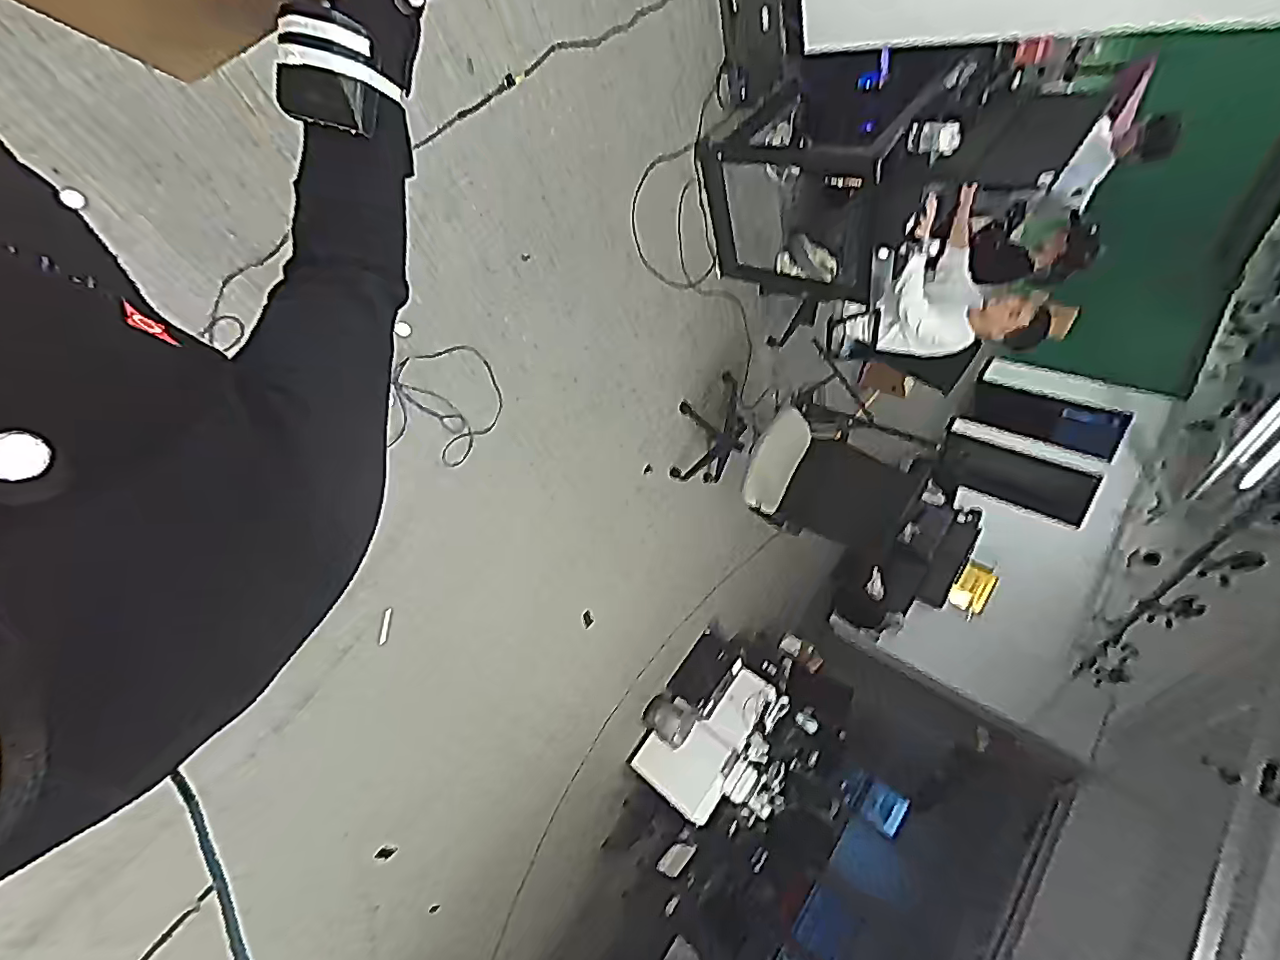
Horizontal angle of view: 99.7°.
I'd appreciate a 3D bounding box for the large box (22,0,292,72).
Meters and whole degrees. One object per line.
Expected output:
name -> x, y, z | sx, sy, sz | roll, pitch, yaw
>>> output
large box -> -0.408, -0.497, 0.253 | 0.408, 0.320, 0.320 | -1, 104, -54
